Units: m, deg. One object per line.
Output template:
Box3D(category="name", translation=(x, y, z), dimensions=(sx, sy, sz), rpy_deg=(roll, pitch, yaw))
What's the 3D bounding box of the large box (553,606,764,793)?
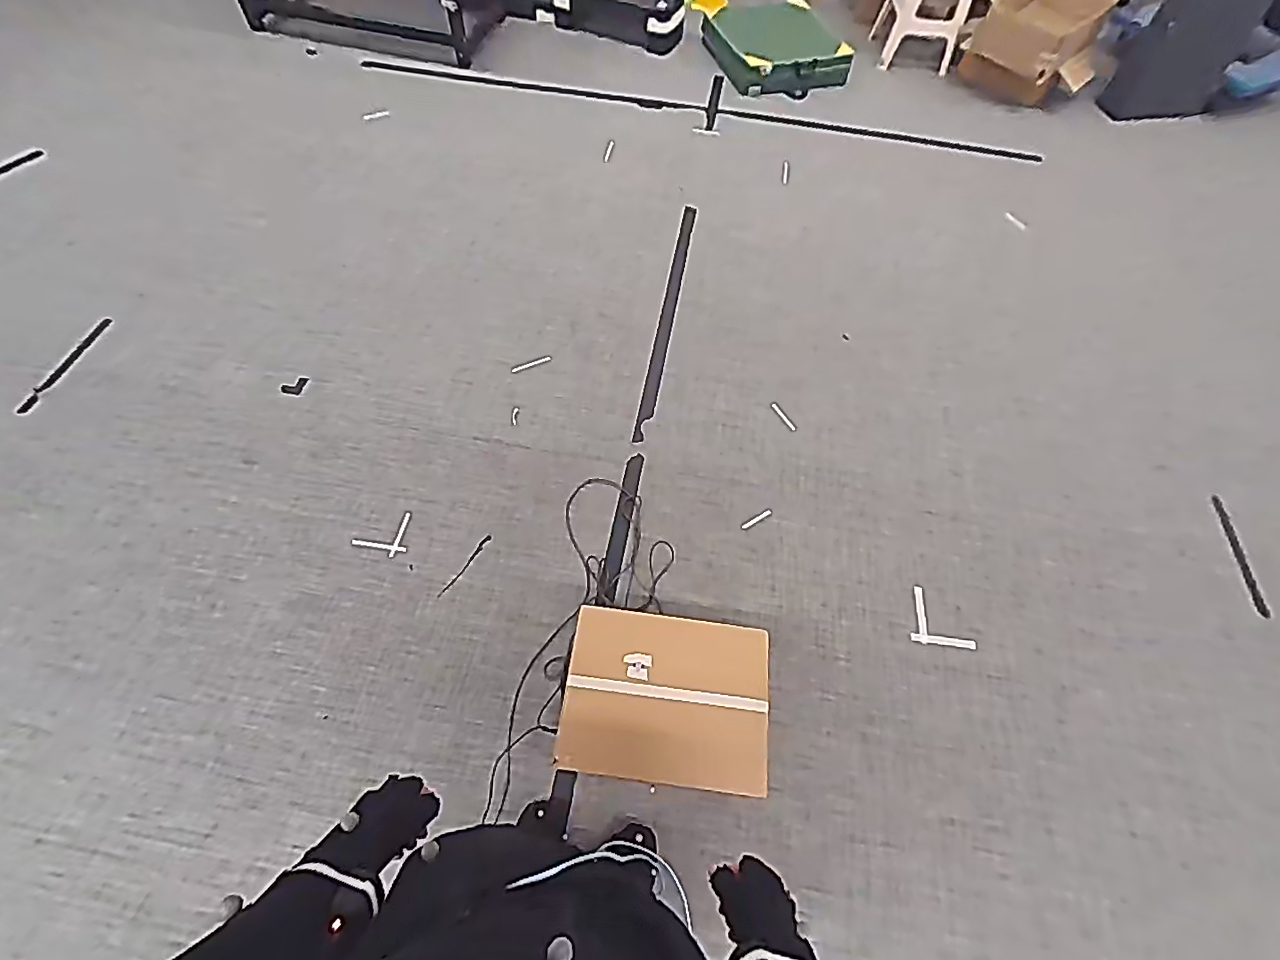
Box3D(category="large box", translation=(0.047, 0.497, 1.210), dimensions=(0.408, 0.320, 0.320), rpy_deg=(8, 60, 2))
